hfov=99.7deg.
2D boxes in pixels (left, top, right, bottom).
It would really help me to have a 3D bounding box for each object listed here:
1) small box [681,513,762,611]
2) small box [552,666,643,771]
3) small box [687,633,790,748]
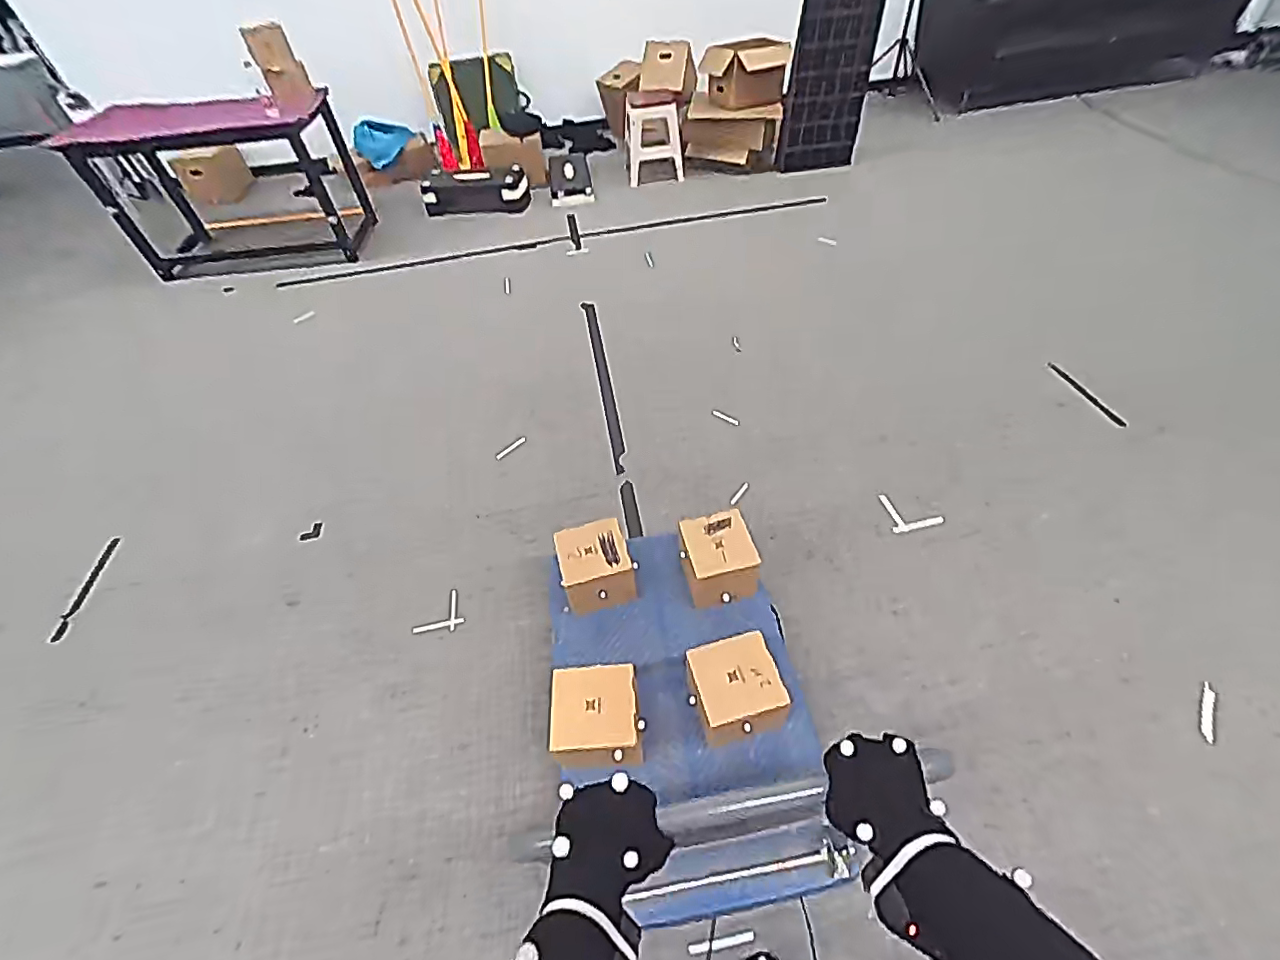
[{"bbox_3d":[0.205,0.217,1.427,0.168,0.176,0.179,-13,50,-5],"label":"small box"},{"bbox_3d":[-0.088,0.528,1.188,0.179,0.176,0.168,-5,49,0],"label":"small box"},{"bbox_3d":[0.212,0.473,1.205,0.179,0.176,0.168,-14,50,-6],"label":"small box"}]
